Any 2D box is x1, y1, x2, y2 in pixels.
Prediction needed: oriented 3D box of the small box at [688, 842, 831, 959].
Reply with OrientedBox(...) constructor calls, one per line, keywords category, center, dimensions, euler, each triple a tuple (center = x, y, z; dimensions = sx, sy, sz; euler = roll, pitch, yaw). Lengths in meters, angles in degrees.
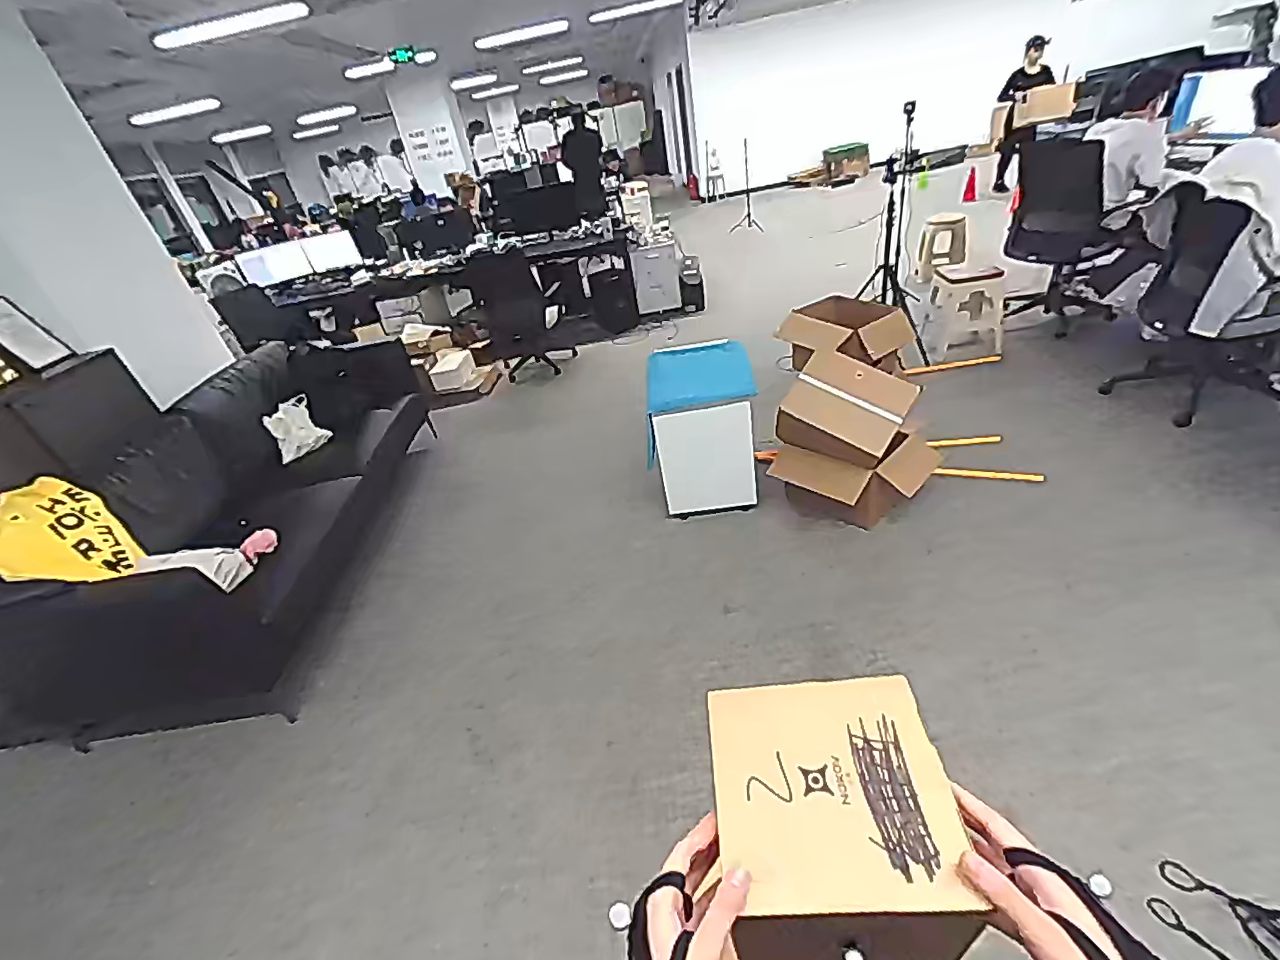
OrientedBox(category="small box", center=(0.170, 0.652, 0.760), dimensions=(0.168, 0.176, 0.179), euler=(-13, 35, 2))
